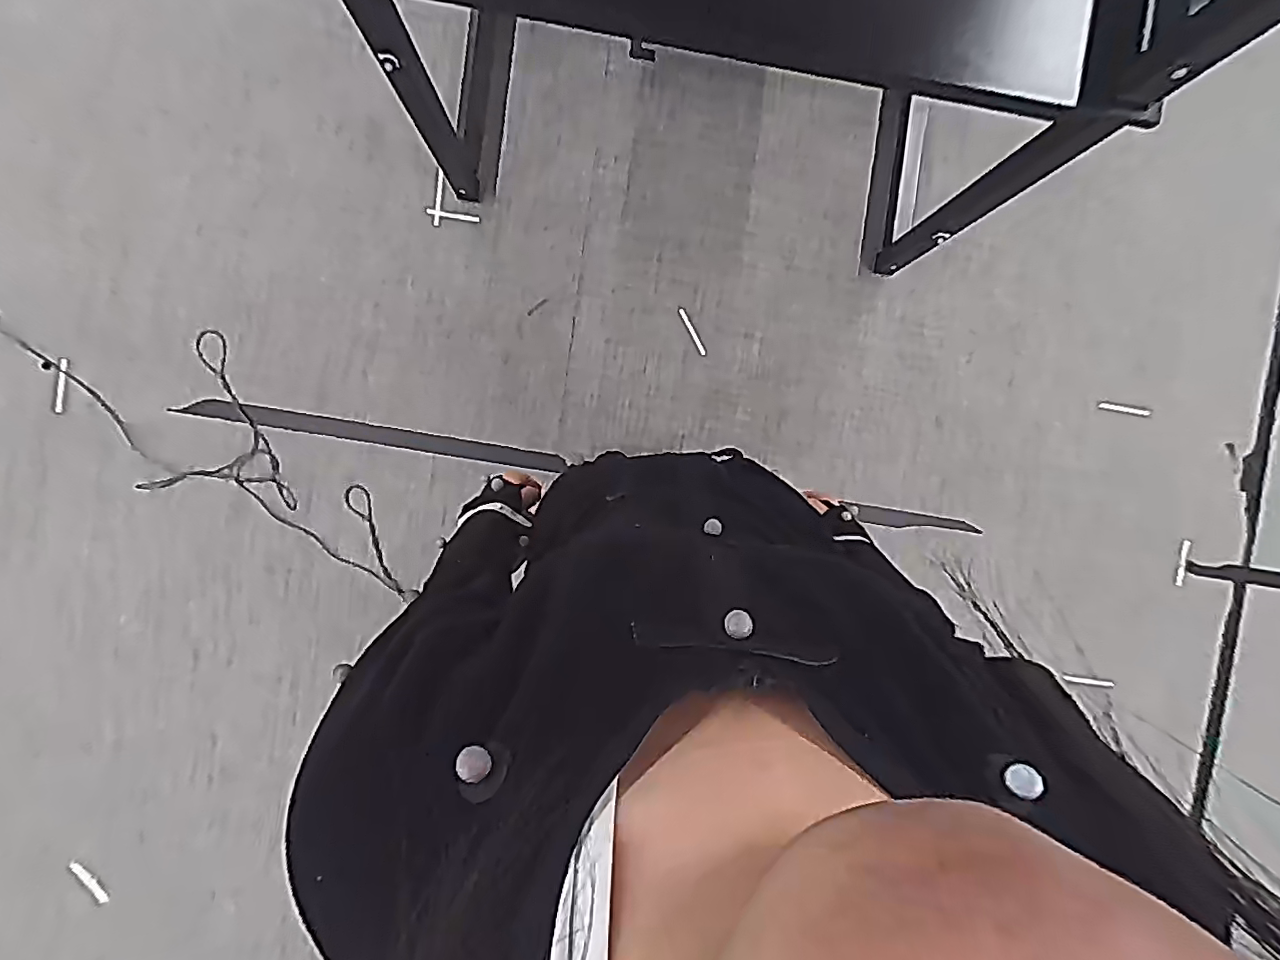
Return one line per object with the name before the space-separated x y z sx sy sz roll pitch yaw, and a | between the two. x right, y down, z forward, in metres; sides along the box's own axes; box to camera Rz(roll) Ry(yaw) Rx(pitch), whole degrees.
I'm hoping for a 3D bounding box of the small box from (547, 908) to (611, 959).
small box | -0.162 1.285 1.442 0.168 0.176 0.179 -1 93 -4
